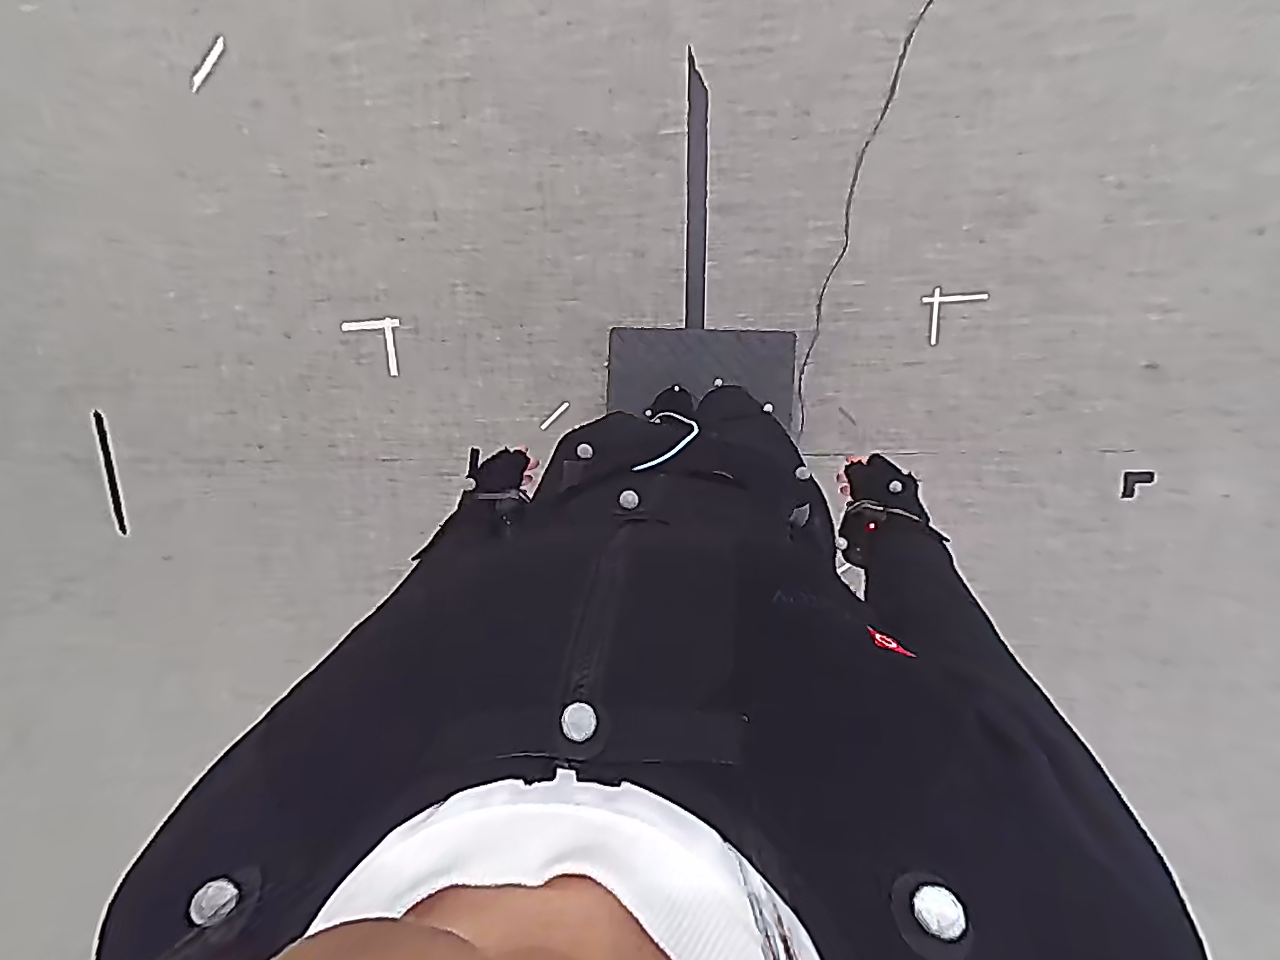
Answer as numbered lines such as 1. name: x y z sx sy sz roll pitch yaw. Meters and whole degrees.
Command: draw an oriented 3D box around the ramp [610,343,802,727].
1. ramp: 0.170 0.133 1.436 0.509 0.206 0.991 0 98 8
